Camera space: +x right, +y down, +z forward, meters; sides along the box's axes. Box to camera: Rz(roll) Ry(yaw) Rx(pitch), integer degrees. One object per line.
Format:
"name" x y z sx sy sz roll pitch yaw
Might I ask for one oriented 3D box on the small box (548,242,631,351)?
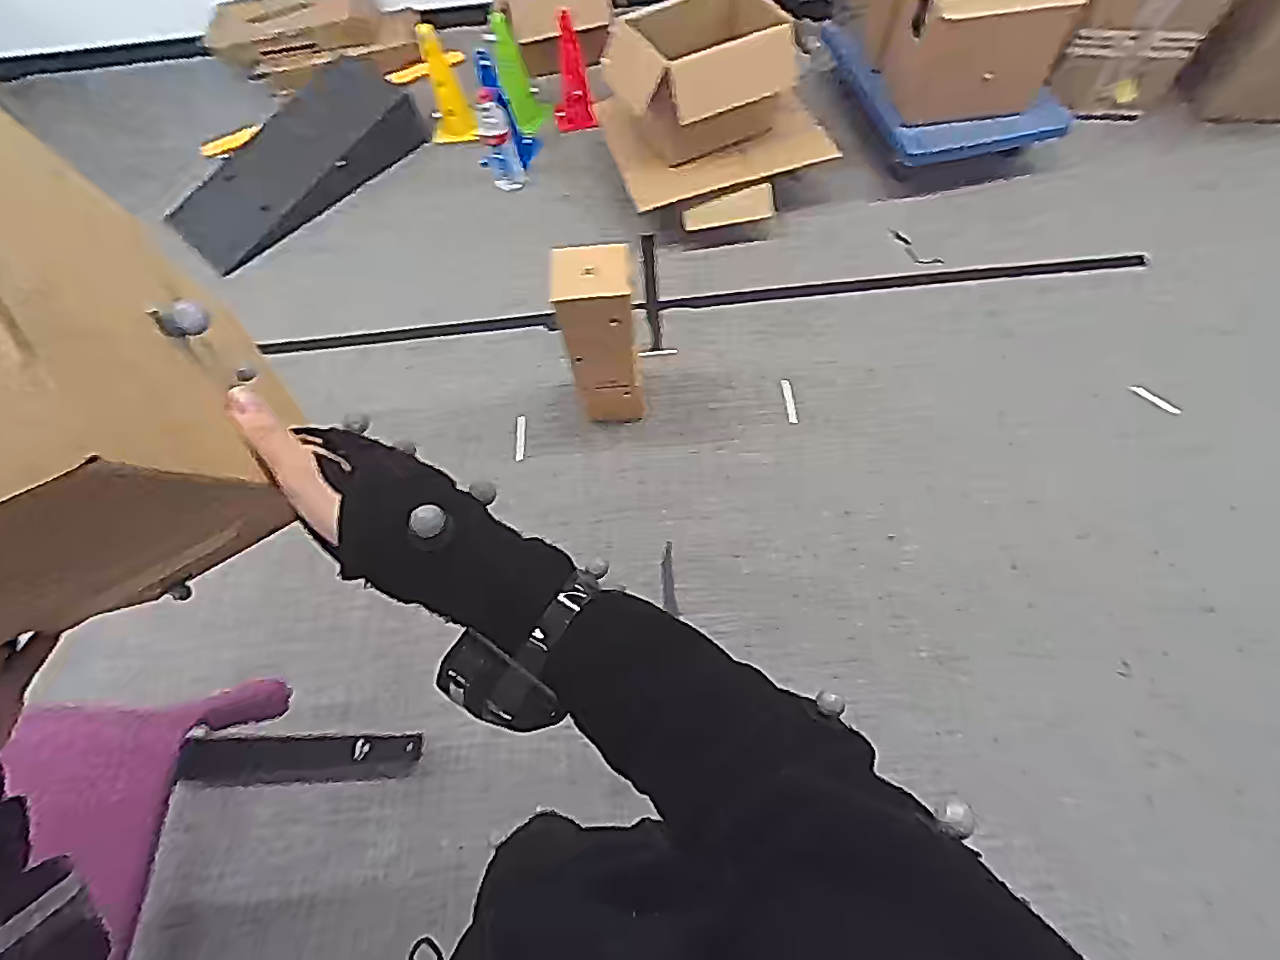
"small box" -0.113 -0.424 1.266 0.179 0.176 0.168 -6 63 1

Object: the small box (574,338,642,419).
"small box" -0.090 -0.288 1.562 0.179 0.176 0.168 -4 65 2
